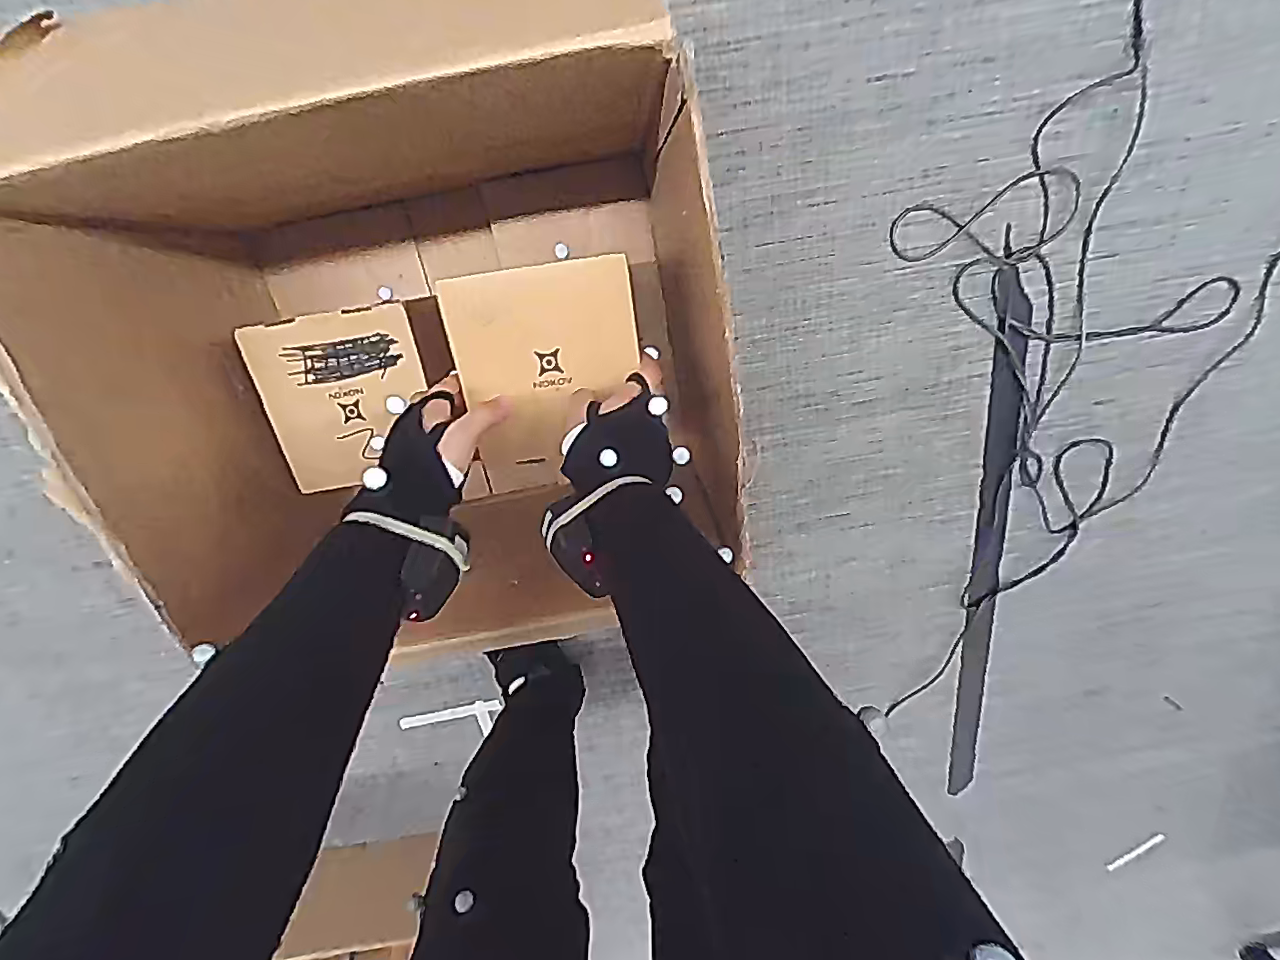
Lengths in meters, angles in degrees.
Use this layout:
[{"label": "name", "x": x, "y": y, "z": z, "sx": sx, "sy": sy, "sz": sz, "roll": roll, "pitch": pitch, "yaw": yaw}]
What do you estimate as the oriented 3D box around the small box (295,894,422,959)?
[{"label": "small box", "x": -0.498, "y": 0.869, "z": 0.948, "sx": 0.179, "sy": 0.176, "sz": 0.168, "roll": -7, "pitch": 112, "yaw": -4}]
